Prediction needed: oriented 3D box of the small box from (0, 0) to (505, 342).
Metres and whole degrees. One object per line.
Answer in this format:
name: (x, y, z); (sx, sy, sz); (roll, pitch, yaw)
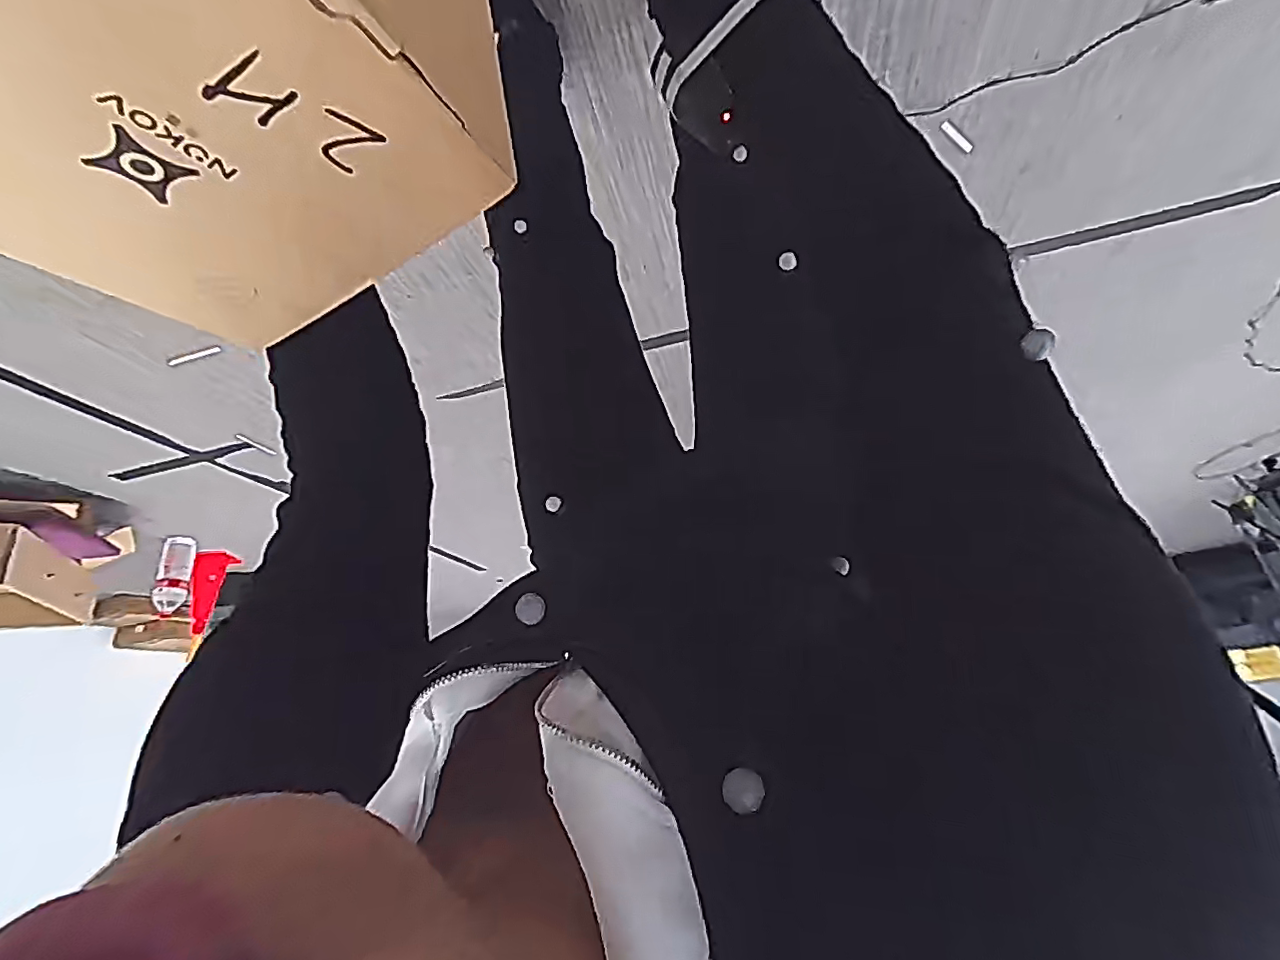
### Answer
small box: (-0.178, -0.189, 0.209); (0.179, 0.176, 0.168); (-19, 162, 22)
